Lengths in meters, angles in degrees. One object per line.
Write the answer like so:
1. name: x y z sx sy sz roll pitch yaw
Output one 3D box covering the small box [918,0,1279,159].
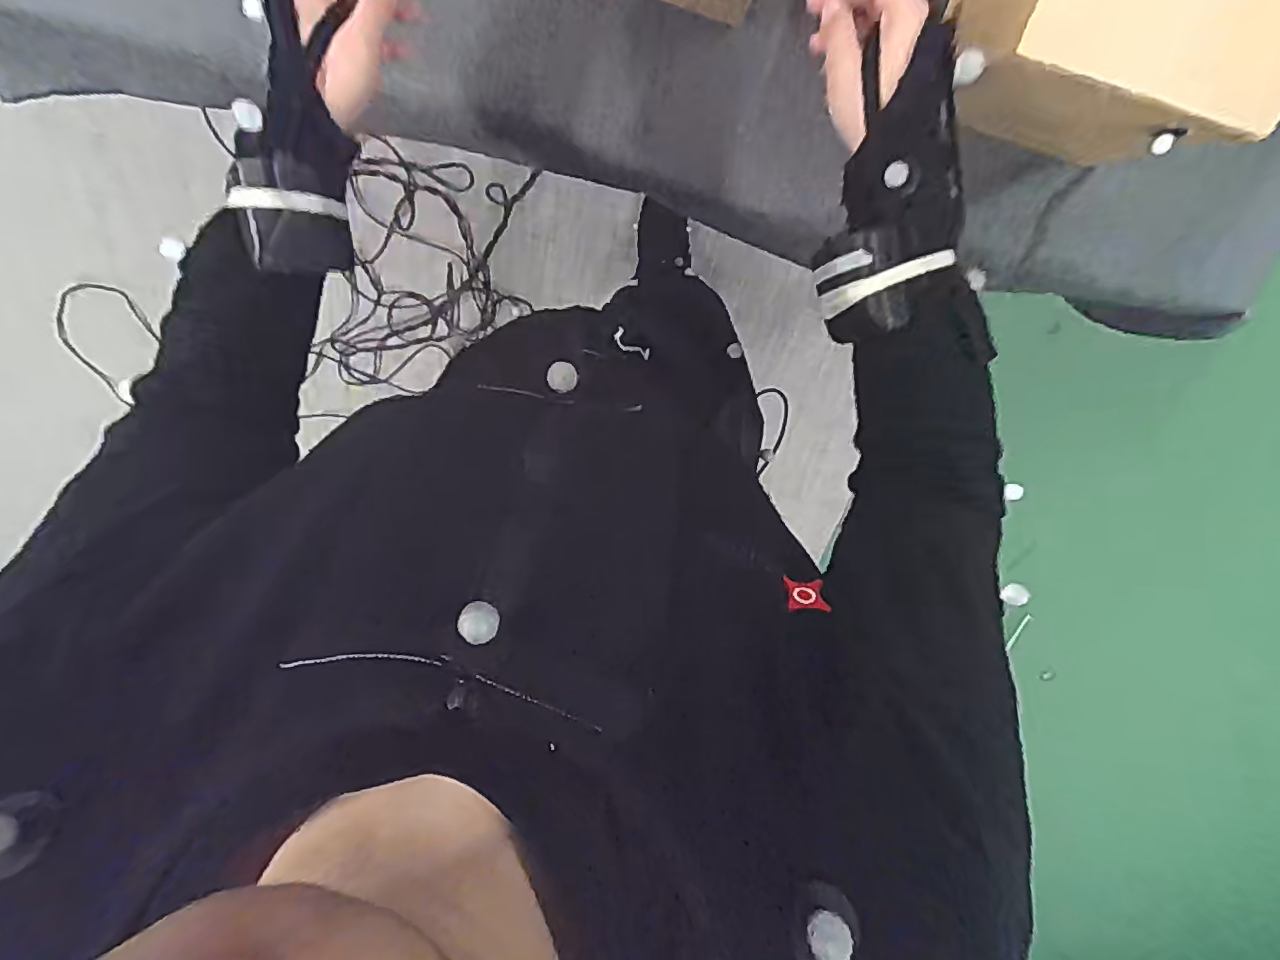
1. small box: 0.329 -0.335 0.366 0.179 0.176 0.168 14 115 -5
